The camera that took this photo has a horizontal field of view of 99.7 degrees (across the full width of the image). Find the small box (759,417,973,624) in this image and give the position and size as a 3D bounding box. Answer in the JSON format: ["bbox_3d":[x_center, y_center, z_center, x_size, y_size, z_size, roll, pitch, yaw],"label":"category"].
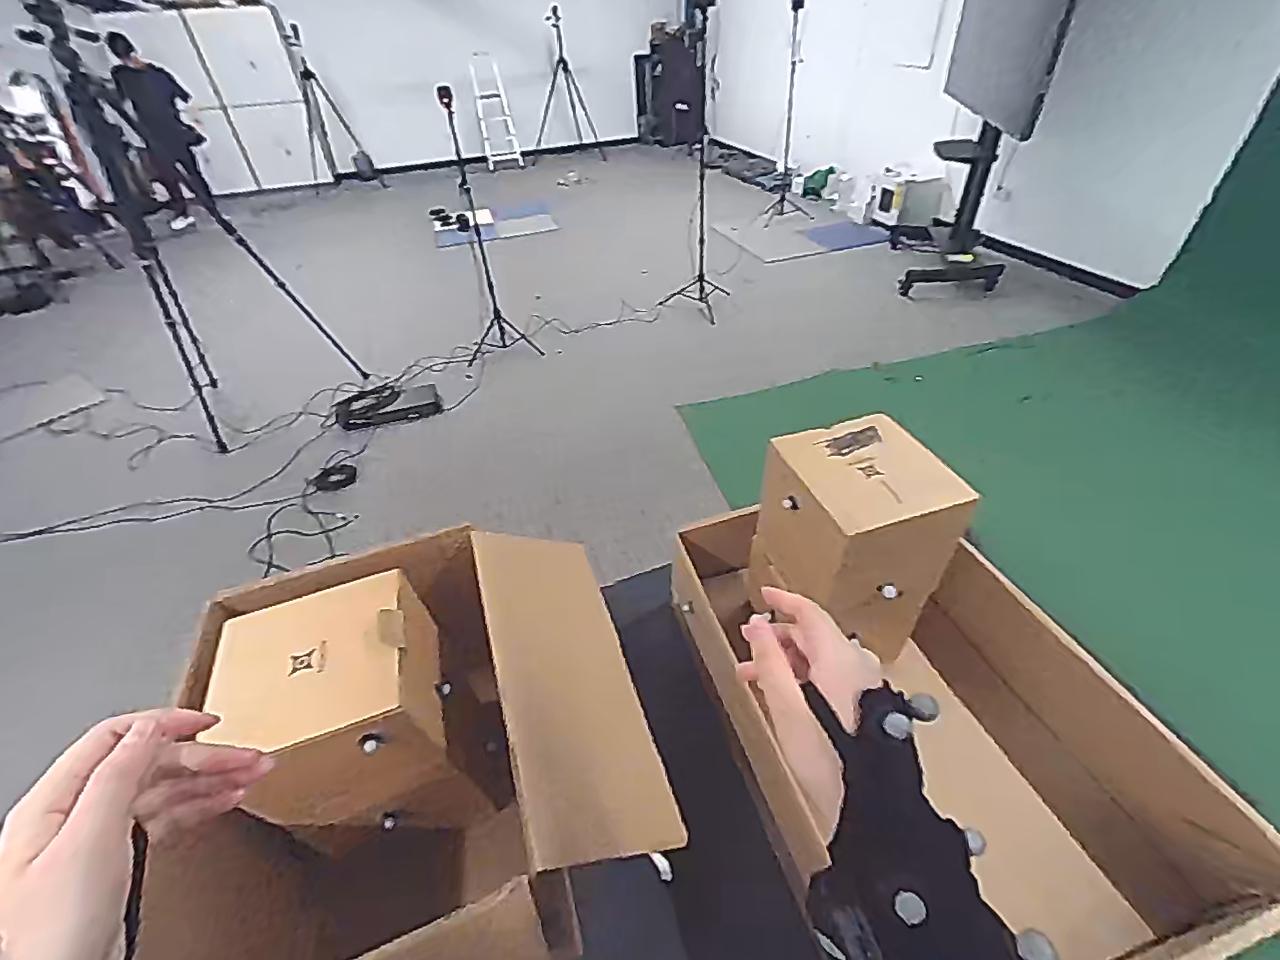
[{"bbox_3d":[0.264,0.049,0.684,0.168,0.176,0.179,-14,43,-11],"label":"small box"}]
